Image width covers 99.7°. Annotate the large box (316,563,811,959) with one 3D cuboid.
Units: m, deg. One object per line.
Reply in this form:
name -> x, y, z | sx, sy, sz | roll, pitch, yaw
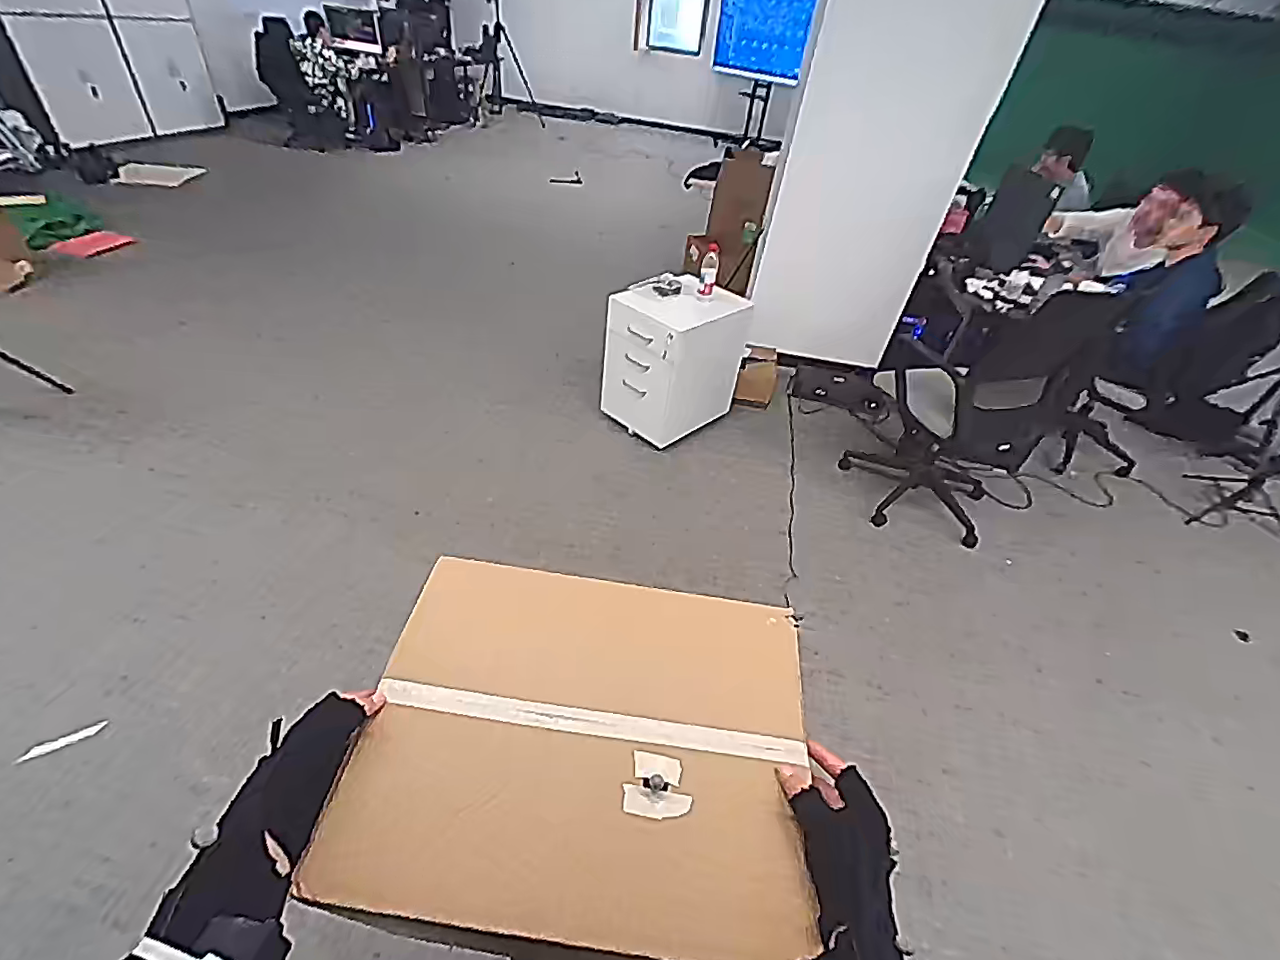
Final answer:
large box -> -0.060, 0.334, 0.631 | 0.408, 0.320, 0.320 | 9, 47, 1
